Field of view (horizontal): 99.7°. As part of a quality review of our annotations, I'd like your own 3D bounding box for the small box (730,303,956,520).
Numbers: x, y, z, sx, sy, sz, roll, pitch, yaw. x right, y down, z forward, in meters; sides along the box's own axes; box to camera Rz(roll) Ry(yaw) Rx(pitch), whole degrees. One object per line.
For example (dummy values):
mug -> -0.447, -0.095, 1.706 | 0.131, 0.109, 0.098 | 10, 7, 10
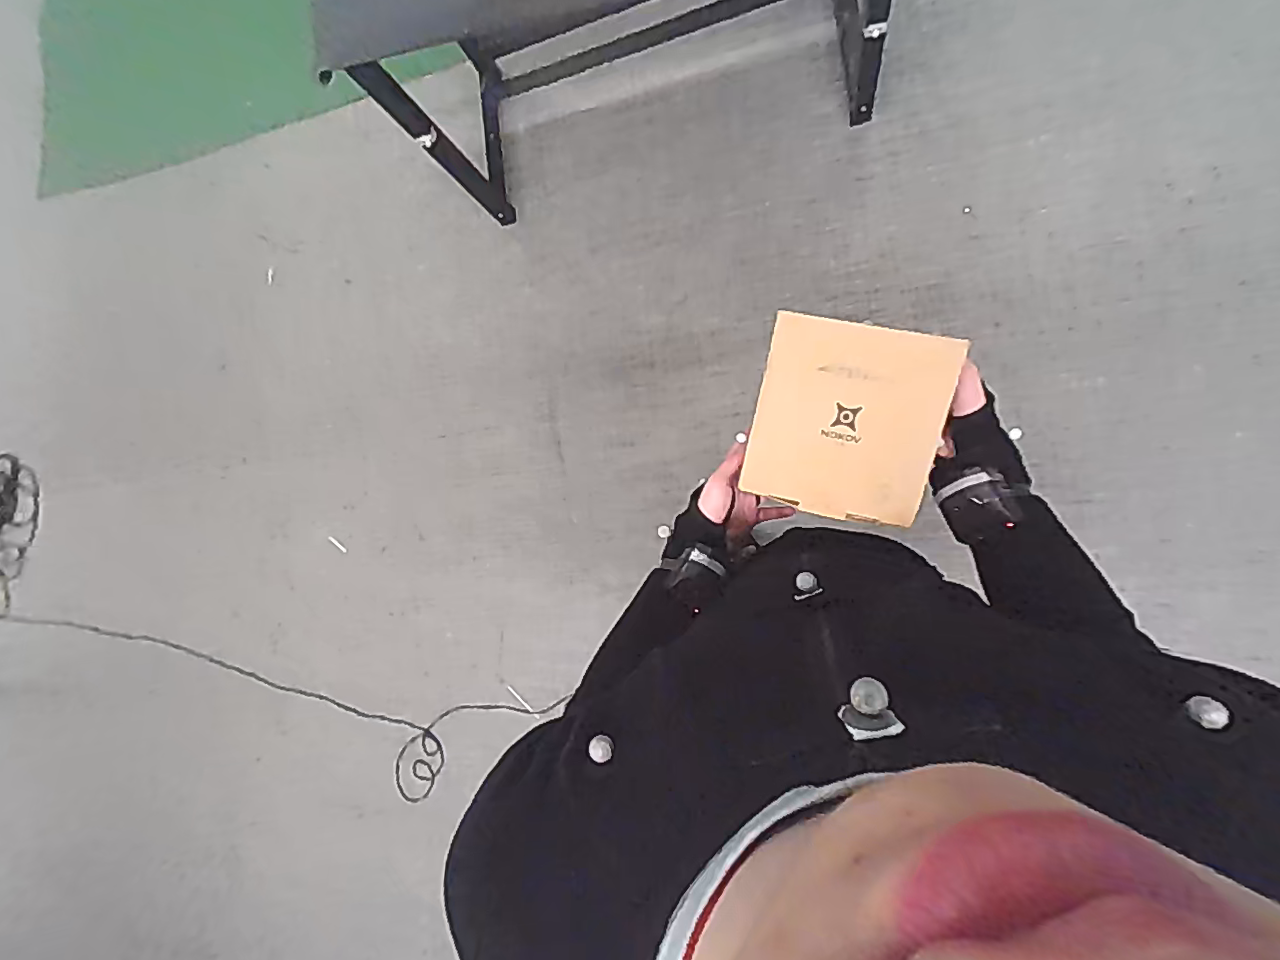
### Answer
small box -> 0.201, -0.077, 0.579 | 0.168, 0.176, 0.179 | 13, 103, 10
